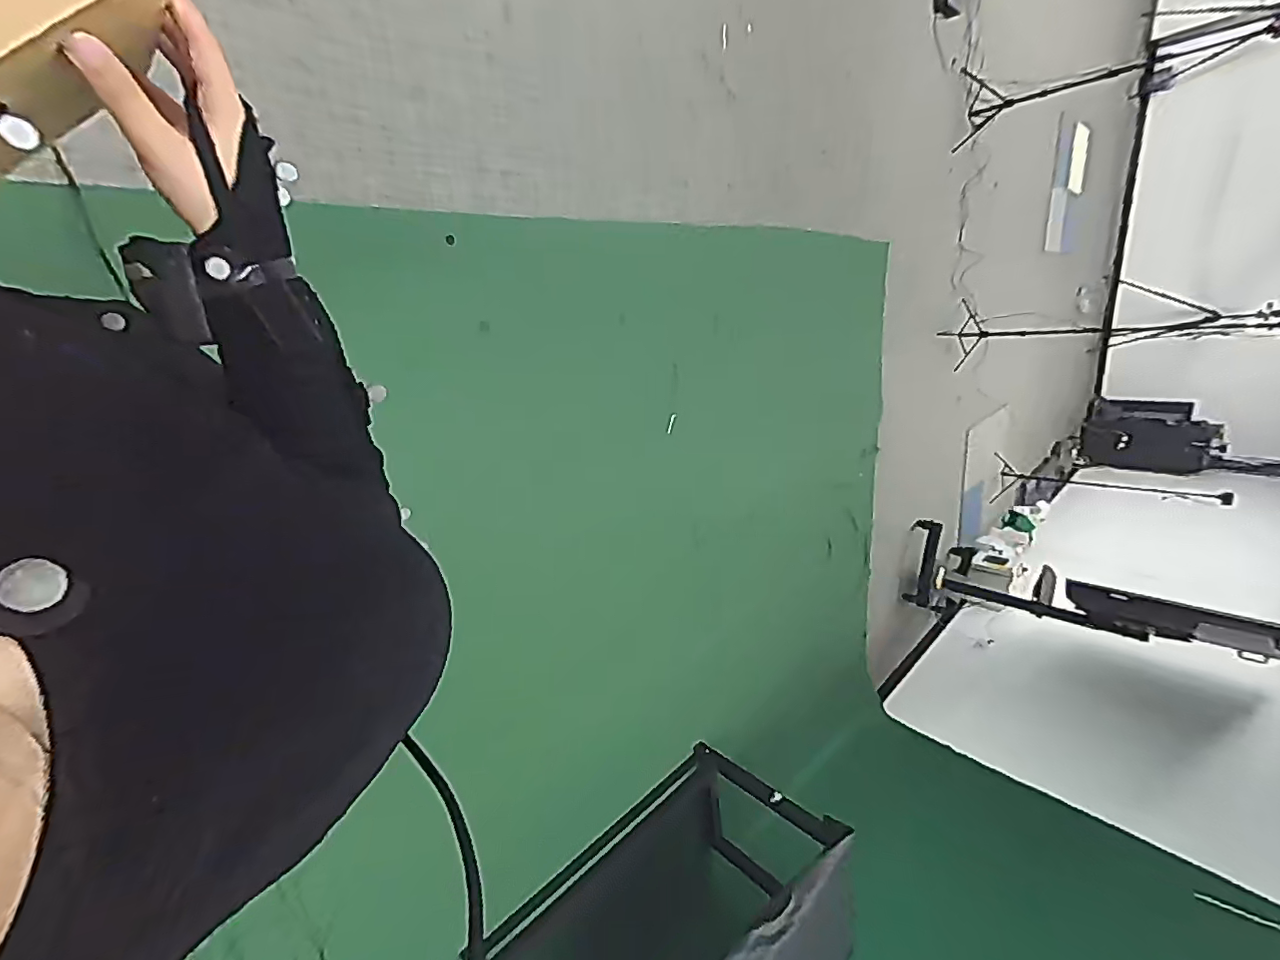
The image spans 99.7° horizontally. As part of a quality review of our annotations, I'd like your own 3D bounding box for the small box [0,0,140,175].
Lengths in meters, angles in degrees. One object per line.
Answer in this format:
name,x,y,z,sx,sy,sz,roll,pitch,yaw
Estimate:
small box,-0.360,-0.239,0.230,0.179,0.176,0.168,-57,134,-18
